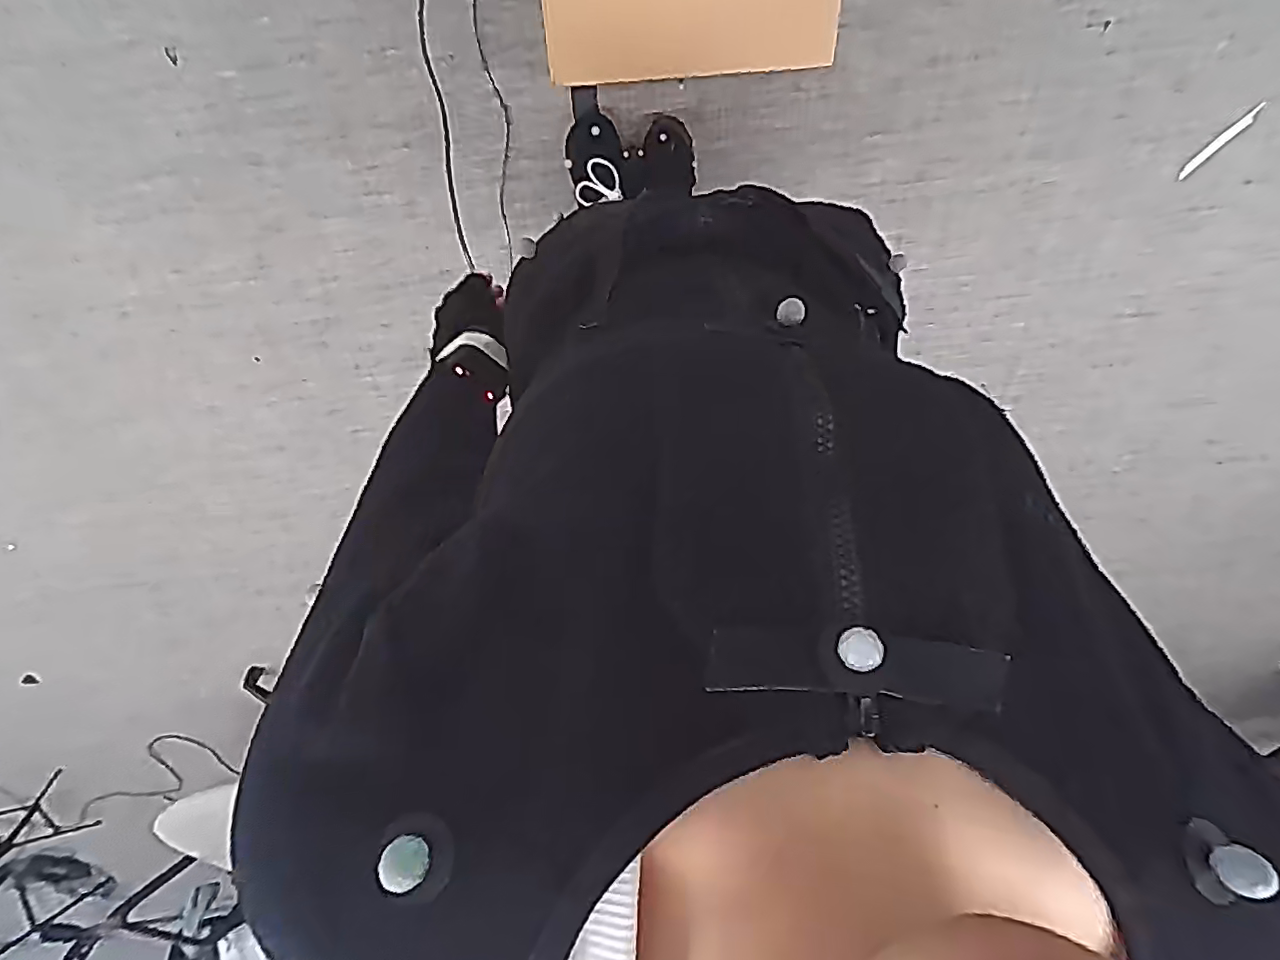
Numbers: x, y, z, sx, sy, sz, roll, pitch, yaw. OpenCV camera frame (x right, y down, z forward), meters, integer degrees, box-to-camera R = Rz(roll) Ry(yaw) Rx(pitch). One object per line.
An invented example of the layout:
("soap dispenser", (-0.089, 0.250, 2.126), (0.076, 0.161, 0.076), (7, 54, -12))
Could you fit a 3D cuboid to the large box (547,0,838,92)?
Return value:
("large box", (0.059, -0.790, 0.808), (0.408, 0.320, 0.320), (-5, 127, -1))
